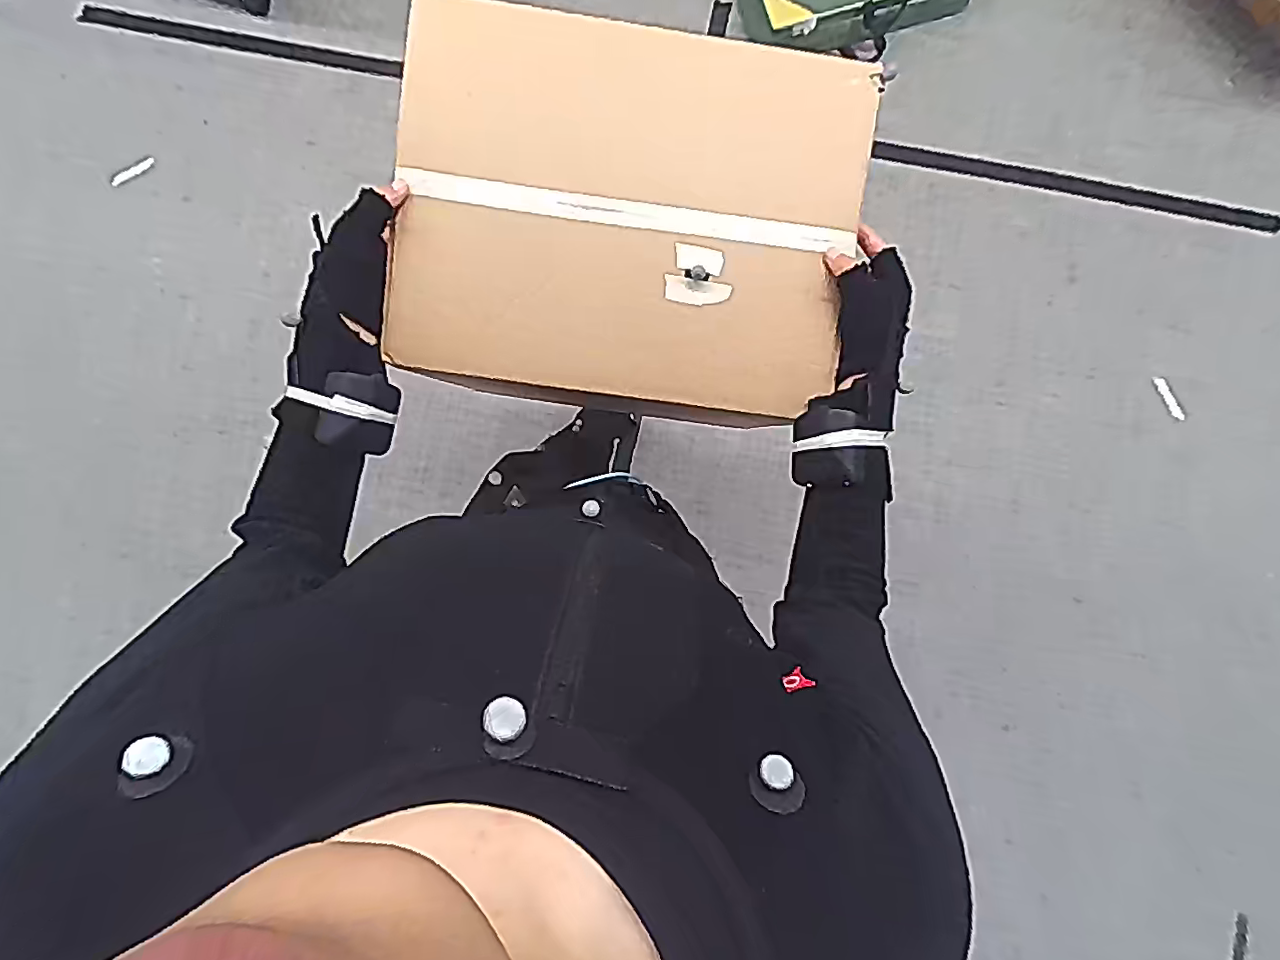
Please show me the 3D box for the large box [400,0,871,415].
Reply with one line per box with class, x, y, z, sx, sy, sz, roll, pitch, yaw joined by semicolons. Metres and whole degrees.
large box;-0.013;-0.257;0.636;0.408;0.320;0.320;8;96;-3
